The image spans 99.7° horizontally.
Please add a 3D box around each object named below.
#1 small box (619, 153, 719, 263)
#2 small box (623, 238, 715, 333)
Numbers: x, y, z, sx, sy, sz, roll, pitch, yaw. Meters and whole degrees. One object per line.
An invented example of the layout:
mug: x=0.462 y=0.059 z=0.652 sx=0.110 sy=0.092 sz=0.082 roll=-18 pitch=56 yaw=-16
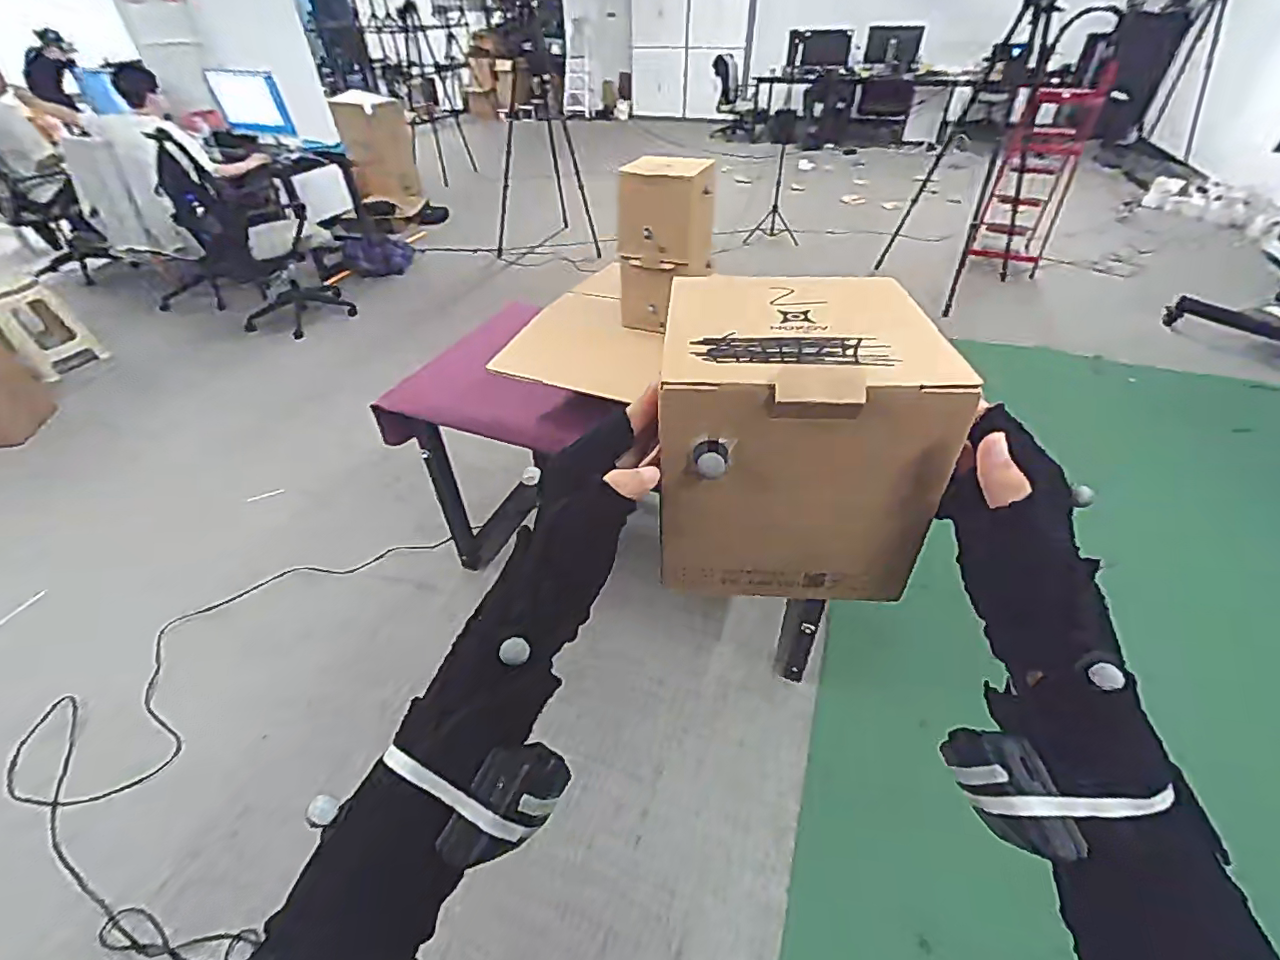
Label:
small box: x=0.063 y=-0.588 z=1.164 sx=0.168 sy=0.176 sz=0.179 roll=14 pitch=43 yaw=17
small box: x=0.068 y=-0.468 z=1.275 sx=0.168 sy=0.176 sz=0.179 roll=15 pitch=43 yaw=19
